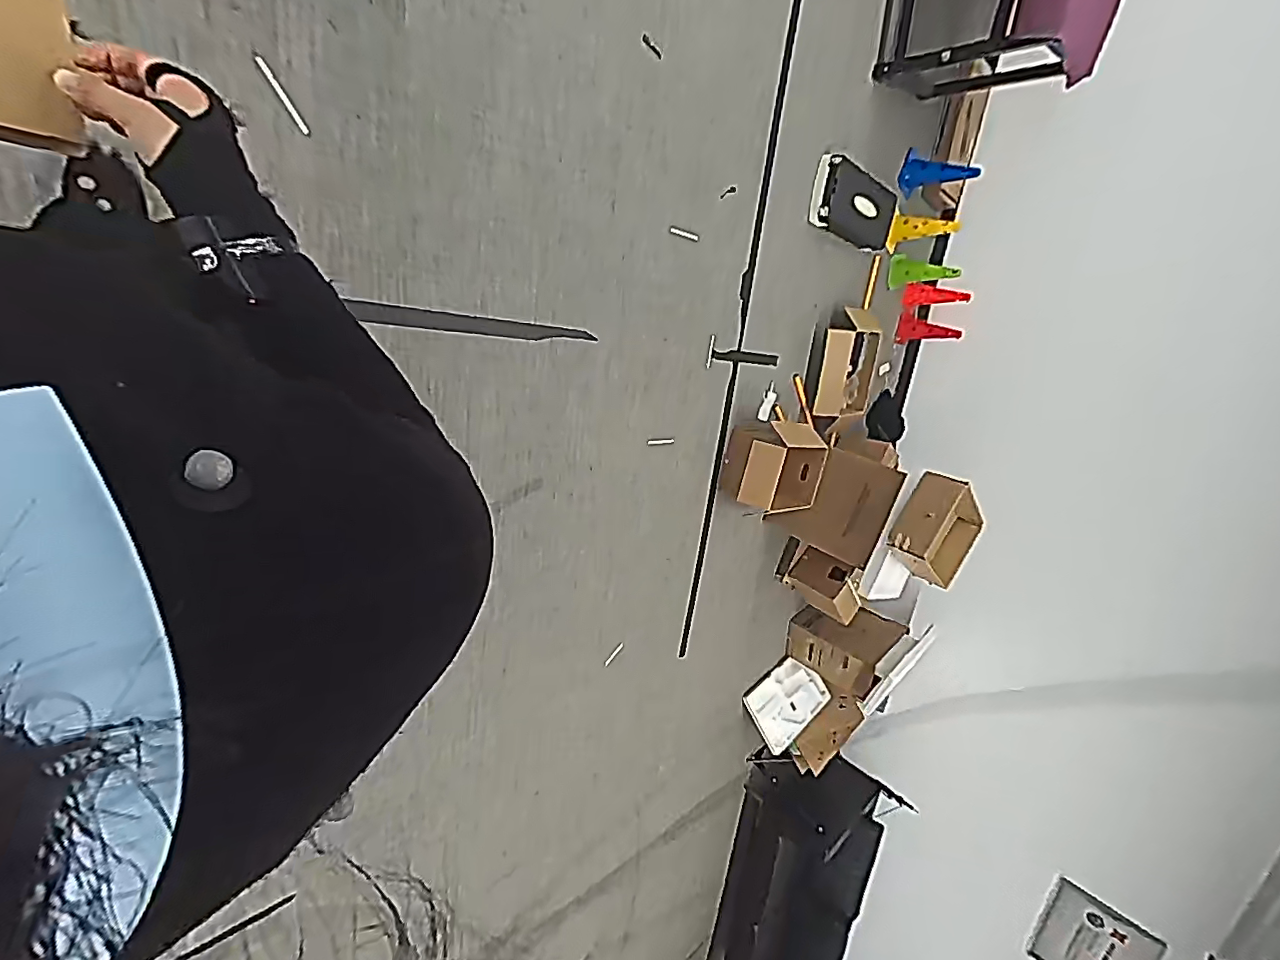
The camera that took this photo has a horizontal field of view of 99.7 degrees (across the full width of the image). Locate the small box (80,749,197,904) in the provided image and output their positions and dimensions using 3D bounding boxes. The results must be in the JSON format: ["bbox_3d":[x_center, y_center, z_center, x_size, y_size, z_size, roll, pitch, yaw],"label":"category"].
[{"bbox_3d":[-1.047,0.713,1.133,0.168,0.176,0.179,-7,112,-45],"label":"small box"}]

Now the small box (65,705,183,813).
[{"bbox_3d":[-1.163,0.658,1.234,0.168,0.176,0.179,-22,123,-39],"label":"small box"}]
